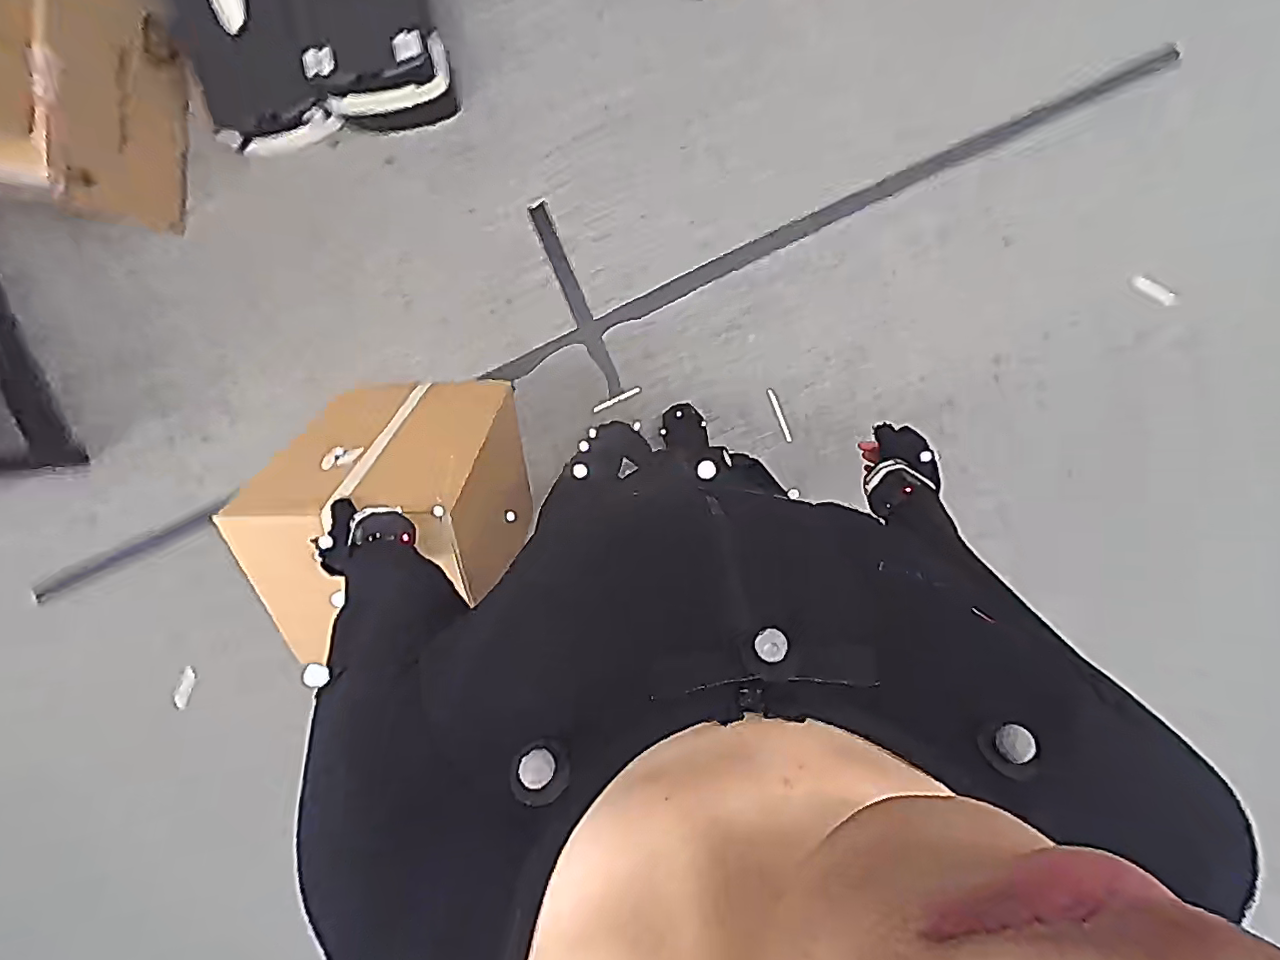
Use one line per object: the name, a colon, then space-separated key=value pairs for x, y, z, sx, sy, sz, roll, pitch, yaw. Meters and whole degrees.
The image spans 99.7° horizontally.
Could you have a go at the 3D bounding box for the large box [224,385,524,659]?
large box: x=-0.406 y=0.058 z=0.964 sx=0.320 sy=0.408 sz=0.320 roll=-1 pitch=125 yaw=1
